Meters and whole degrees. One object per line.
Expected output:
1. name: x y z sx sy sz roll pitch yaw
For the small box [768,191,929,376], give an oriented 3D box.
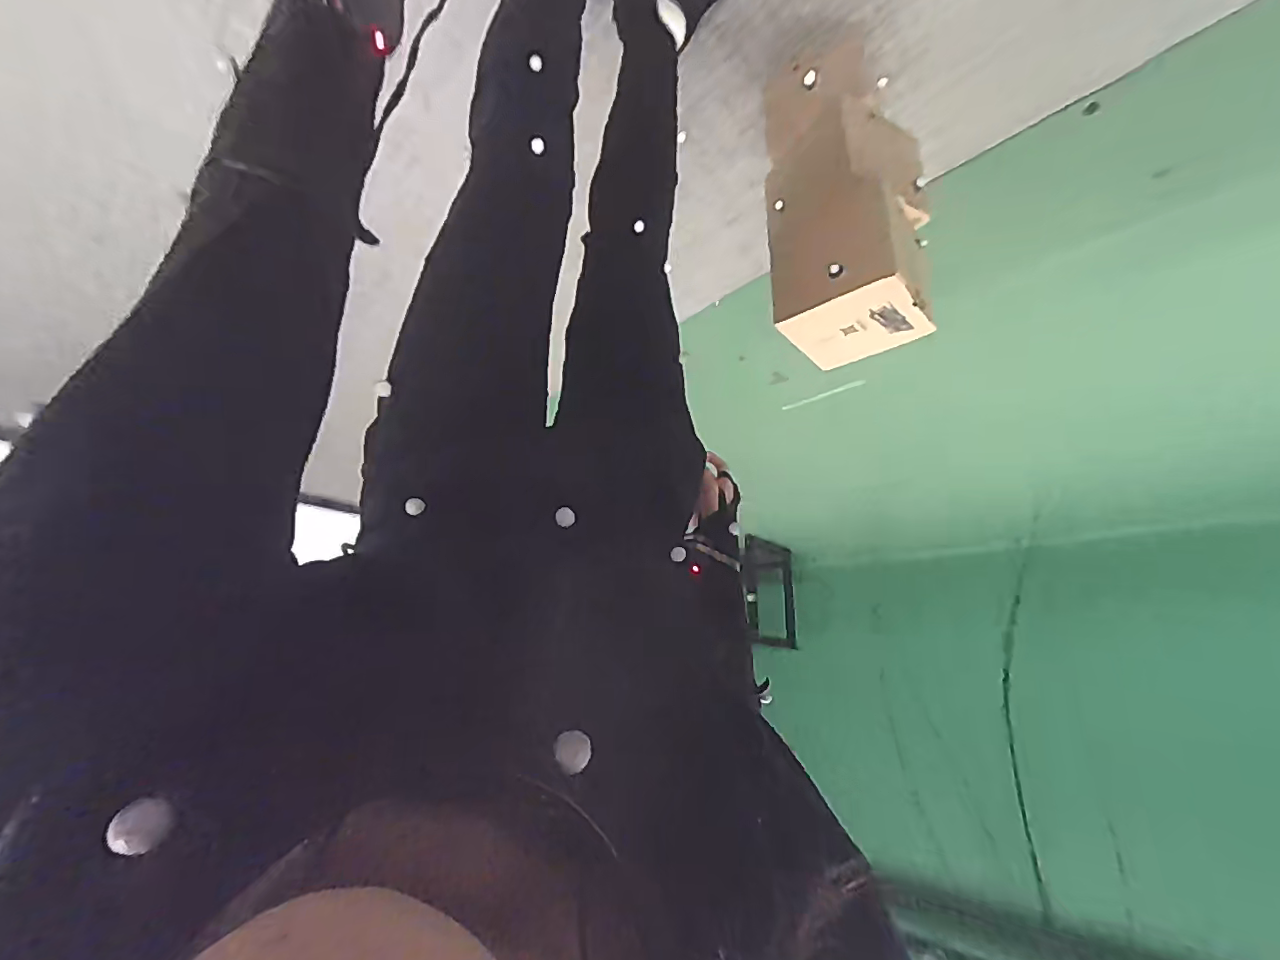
1. small box: 0.308 -0.289 0.816 0.179 0.176 0.168 -16 153 40
